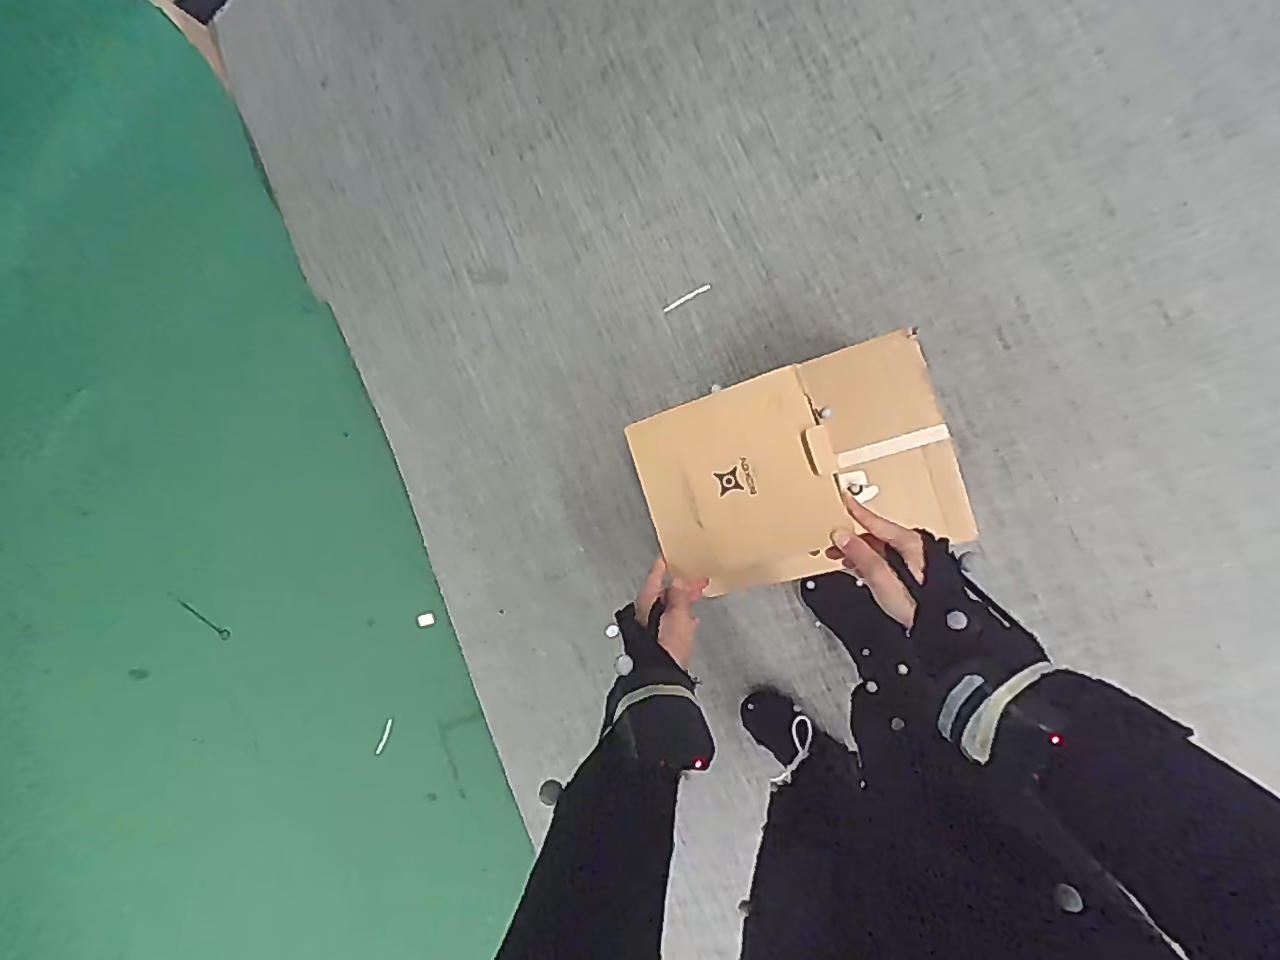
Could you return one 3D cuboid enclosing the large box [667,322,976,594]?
[{"bbox_3d":[0.289,-0.024,0.955,0.408,0.320,0.320,-18,88,18],"label":"large box"}]

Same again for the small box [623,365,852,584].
[{"bbox_3d":[0.110,-0.005,0.575,0.179,0.176,0.168,-20,85,21],"label":"small box"}]
